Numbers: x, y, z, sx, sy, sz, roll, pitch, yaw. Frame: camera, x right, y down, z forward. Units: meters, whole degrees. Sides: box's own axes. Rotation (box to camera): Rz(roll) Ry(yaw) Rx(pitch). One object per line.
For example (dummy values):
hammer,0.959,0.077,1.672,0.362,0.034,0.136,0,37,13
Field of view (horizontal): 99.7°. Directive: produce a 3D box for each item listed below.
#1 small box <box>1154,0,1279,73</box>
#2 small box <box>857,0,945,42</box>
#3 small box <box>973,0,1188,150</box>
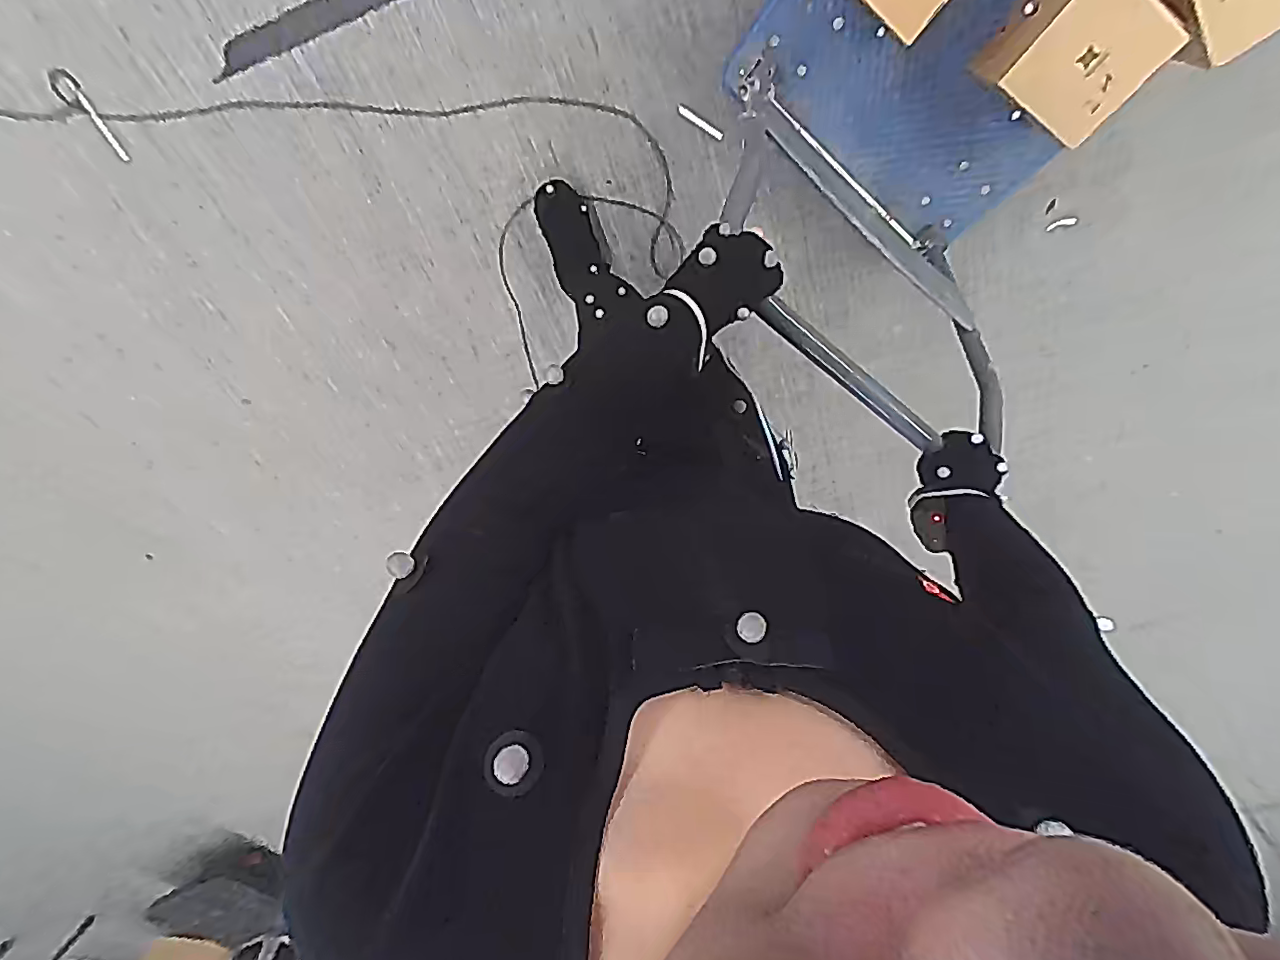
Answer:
small box,0.830,-0.717,0.741,0.179,0.176,0.168,-29,122,35
small box,0.379,-0.780,0.773,0.179,0.176,0.168,29,133,-19
small box,0.660,-0.657,0.836,0.179,0.176,0.168,28,134,-15
